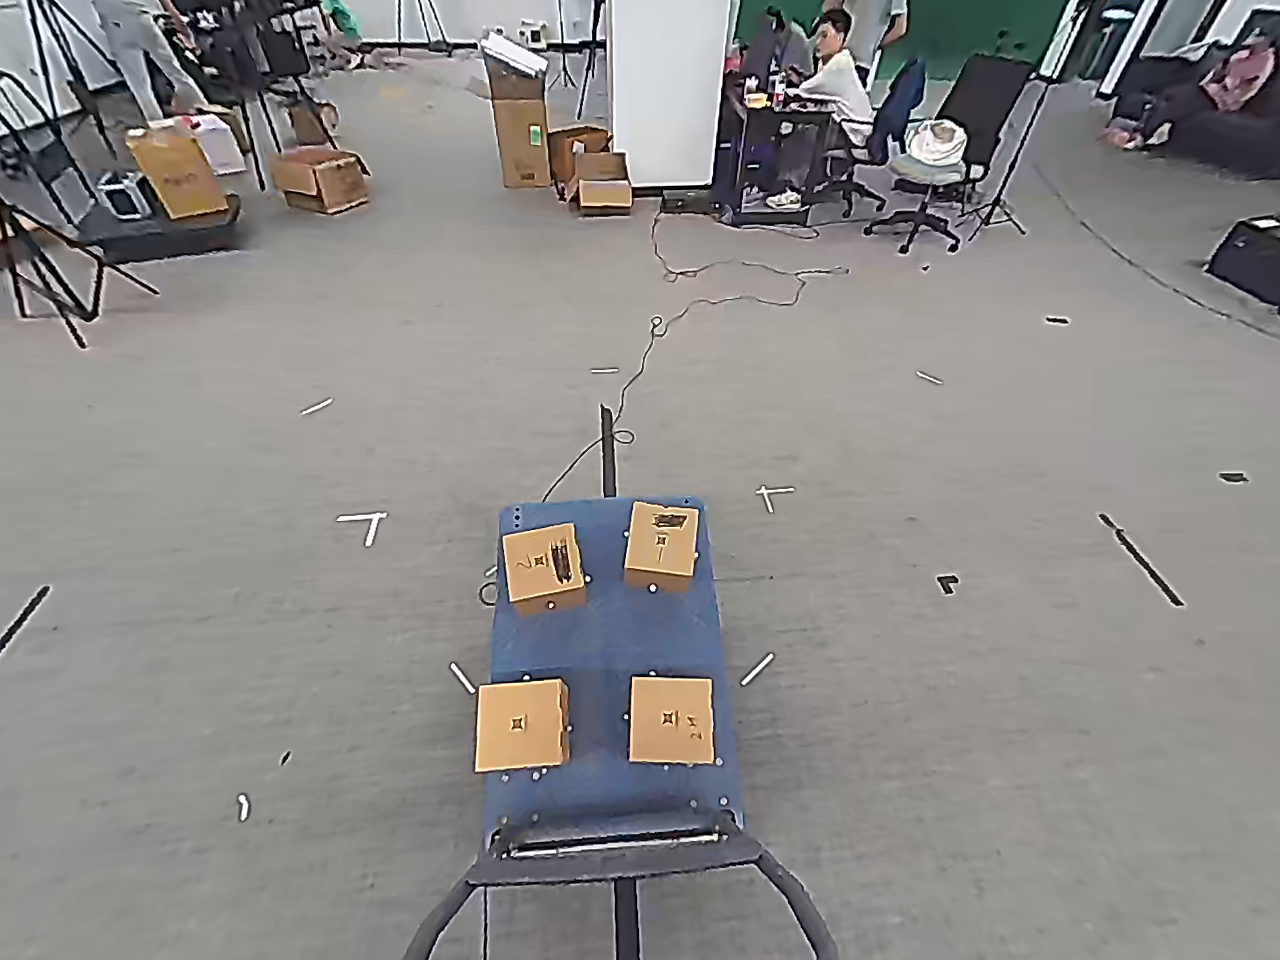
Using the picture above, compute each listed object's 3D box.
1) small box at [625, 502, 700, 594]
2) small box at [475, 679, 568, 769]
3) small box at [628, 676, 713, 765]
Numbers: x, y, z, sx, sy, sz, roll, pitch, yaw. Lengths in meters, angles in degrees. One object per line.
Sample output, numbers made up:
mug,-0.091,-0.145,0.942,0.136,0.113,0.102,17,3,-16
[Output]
small box,0.054,0.177,1.386,0.168,0.176,0.179,8,64,2
small box,-0.254,0.540,1.192,0.179,0.176,0.168,-3,63,-5
small box,0.064,0.538,1.204,0.179,0.176,0.168,3,64,-1
